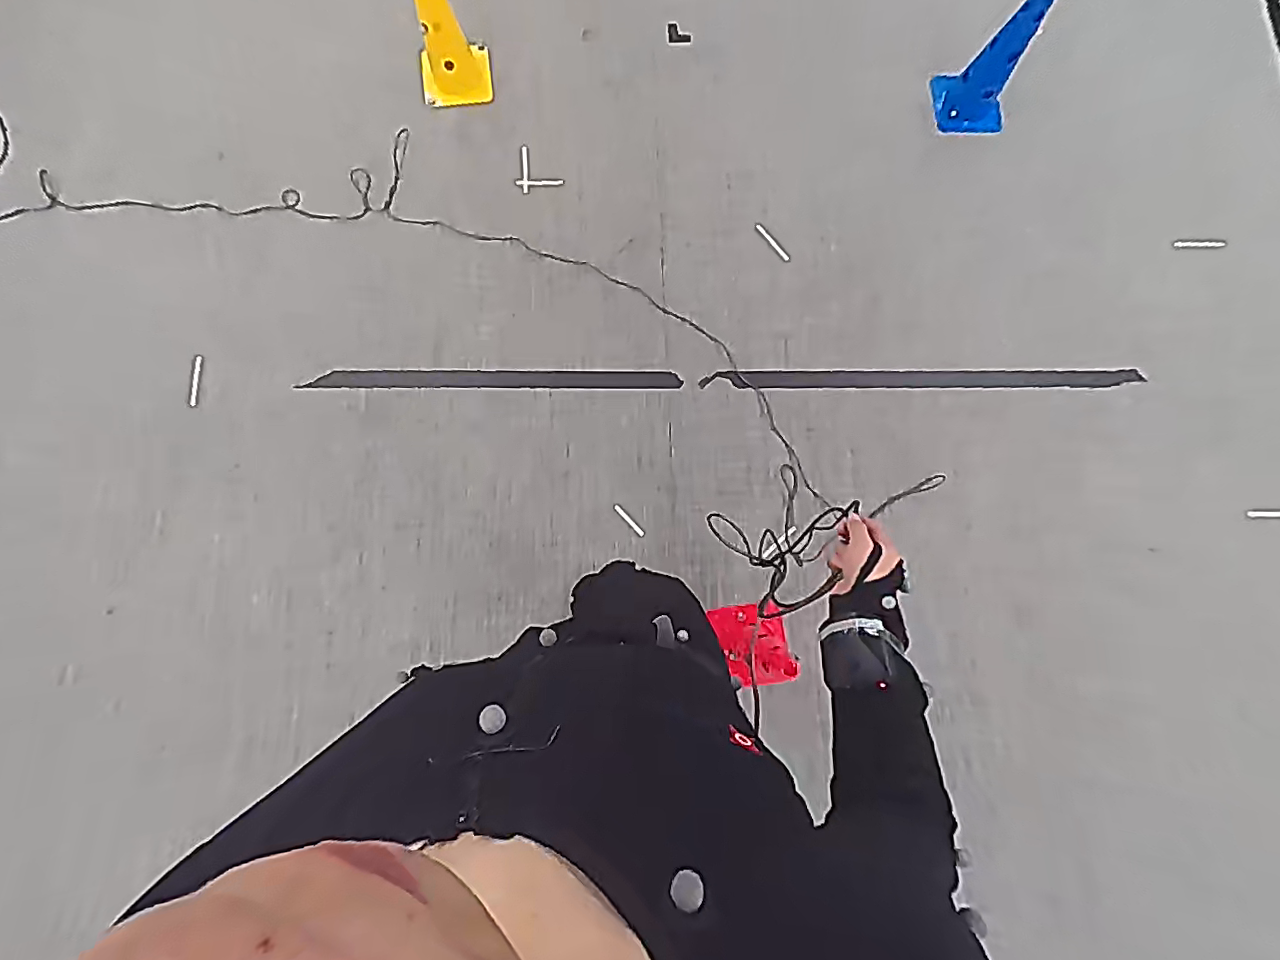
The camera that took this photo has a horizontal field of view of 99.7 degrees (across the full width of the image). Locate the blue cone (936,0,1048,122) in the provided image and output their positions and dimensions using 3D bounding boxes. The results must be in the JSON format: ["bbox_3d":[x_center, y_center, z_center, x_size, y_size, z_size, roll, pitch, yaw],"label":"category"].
[{"bbox_3d":[0.998,-1.191,1.467,0.193,0.380,0.192,0,79,-2],"label":"blue cone"}]

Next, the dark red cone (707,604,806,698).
[{"bbox_3d":[0.276,0.383,1.150,0.202,0.394,0.201,-8,80,-3],"label":"dark red cone"}]
